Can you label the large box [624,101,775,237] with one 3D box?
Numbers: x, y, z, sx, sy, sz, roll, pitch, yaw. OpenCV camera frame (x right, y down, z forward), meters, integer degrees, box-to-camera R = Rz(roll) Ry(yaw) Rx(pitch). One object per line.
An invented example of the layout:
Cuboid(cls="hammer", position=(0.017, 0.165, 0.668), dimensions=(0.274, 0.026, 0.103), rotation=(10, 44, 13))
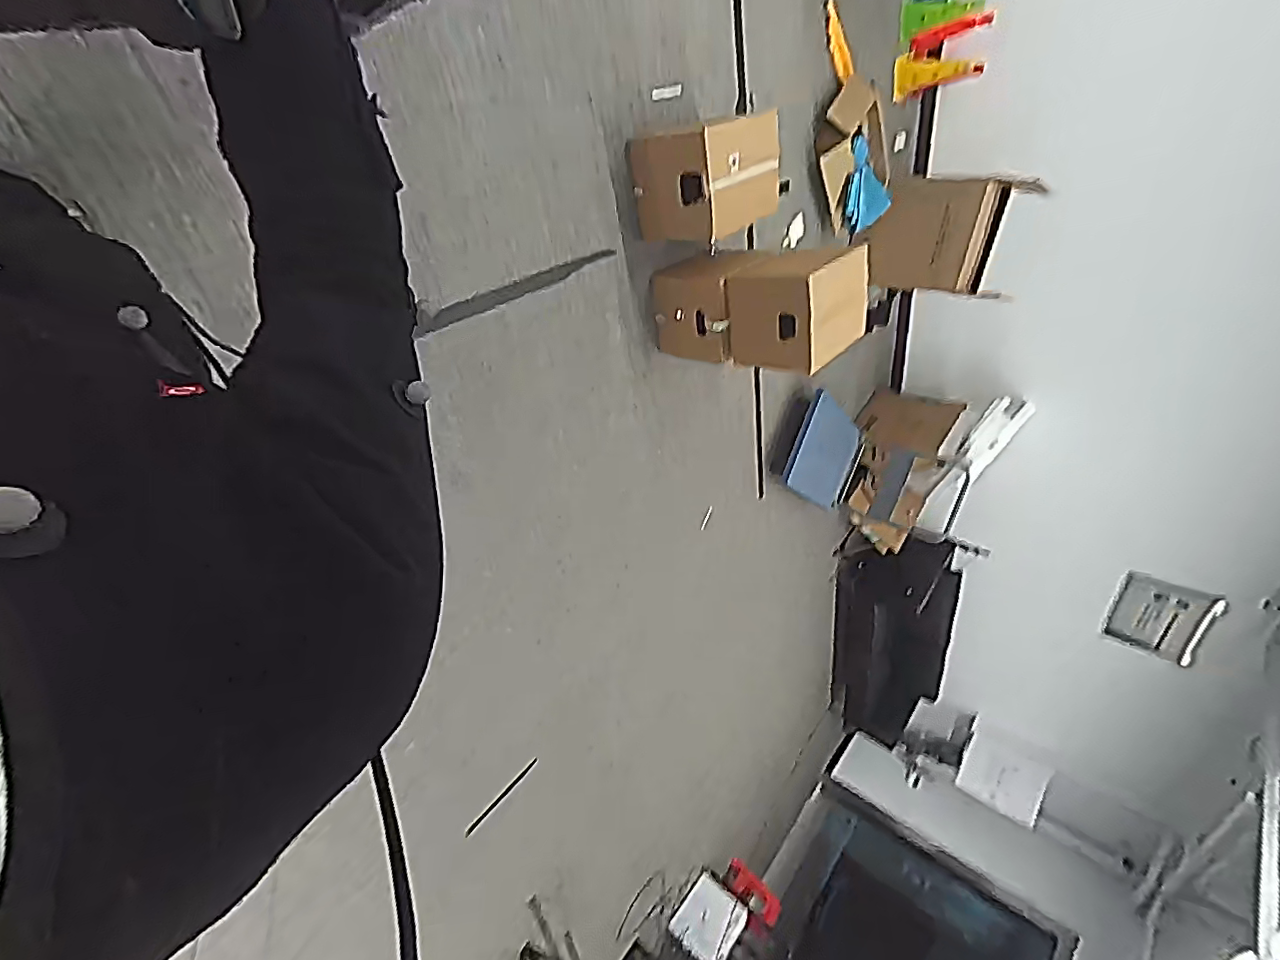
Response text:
Cuboid(cls="large box", position=(0.211, -1.039, 1.811), dimensions=(0.408, 0.320, 0.320), rotation=(-38, 133, -32))
